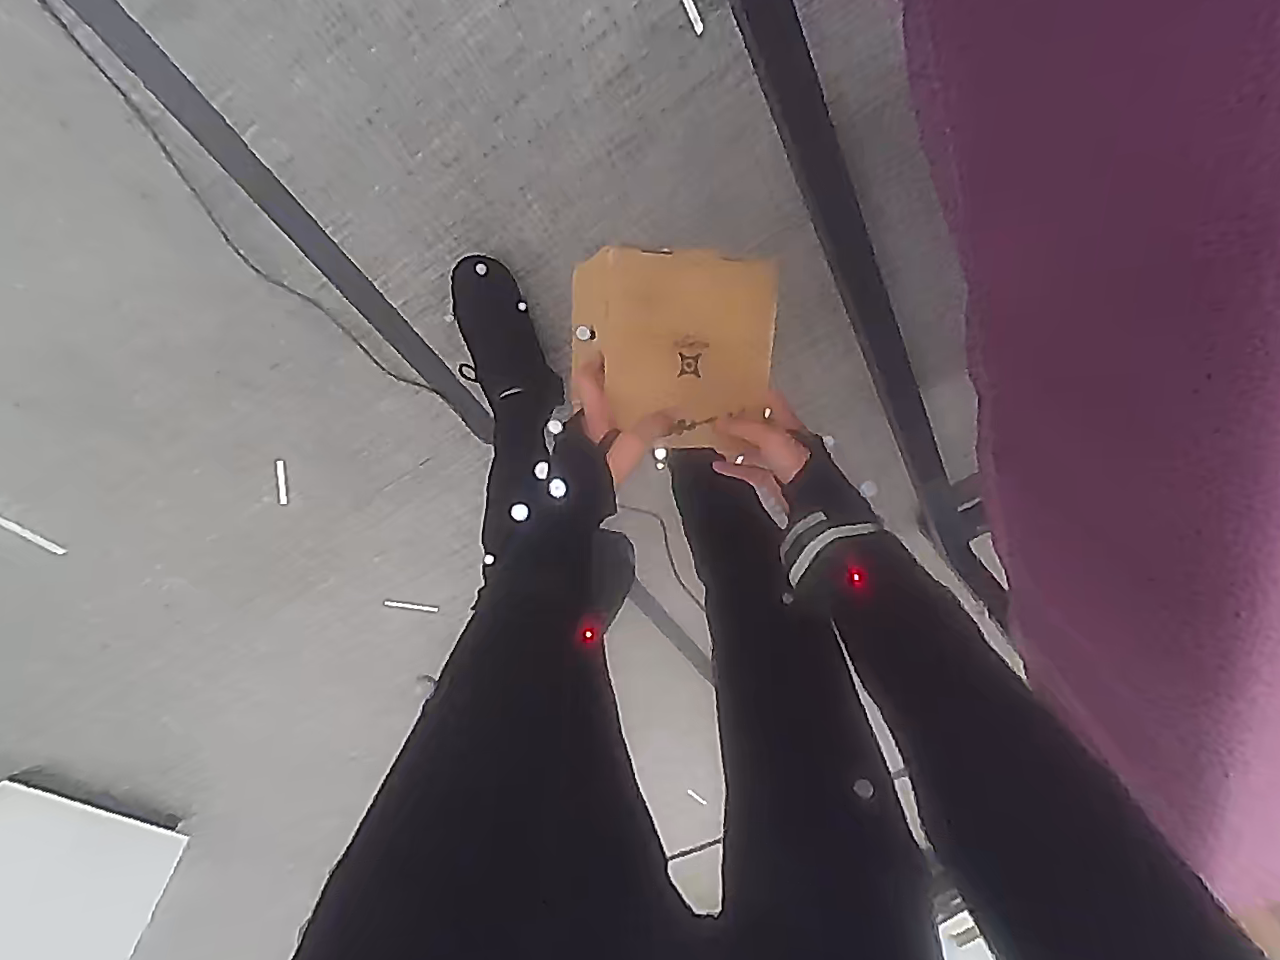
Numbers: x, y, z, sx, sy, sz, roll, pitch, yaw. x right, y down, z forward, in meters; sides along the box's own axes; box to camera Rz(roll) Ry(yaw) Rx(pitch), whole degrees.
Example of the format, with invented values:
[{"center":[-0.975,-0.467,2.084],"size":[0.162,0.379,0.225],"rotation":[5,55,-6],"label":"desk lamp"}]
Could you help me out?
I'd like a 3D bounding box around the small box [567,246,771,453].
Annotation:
[{"center":[0.016,-0.128,0.559],"size":[0.168,0.176,0.179],"rotation":[-2,104,-15],"label":"small box"}]
